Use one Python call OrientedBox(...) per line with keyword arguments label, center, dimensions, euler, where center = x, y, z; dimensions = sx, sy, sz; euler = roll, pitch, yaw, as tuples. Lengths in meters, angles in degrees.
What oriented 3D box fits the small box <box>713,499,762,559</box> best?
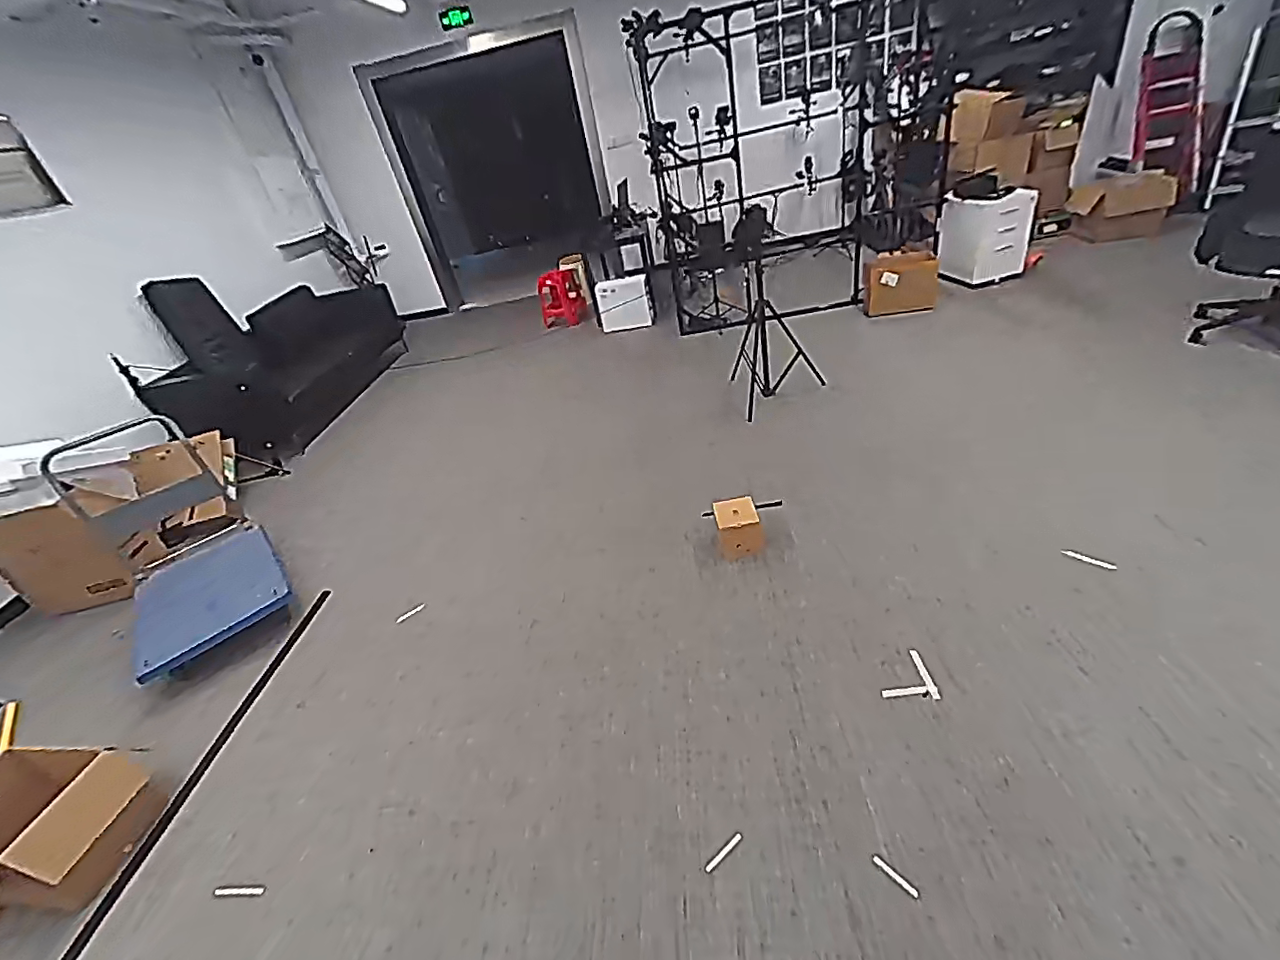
OrientedBox(label="small box", center=(0.405, 0.204, 2.253), dimensions=(0.168, 0.176, 0.179), euler=(-11, 33, 3))
